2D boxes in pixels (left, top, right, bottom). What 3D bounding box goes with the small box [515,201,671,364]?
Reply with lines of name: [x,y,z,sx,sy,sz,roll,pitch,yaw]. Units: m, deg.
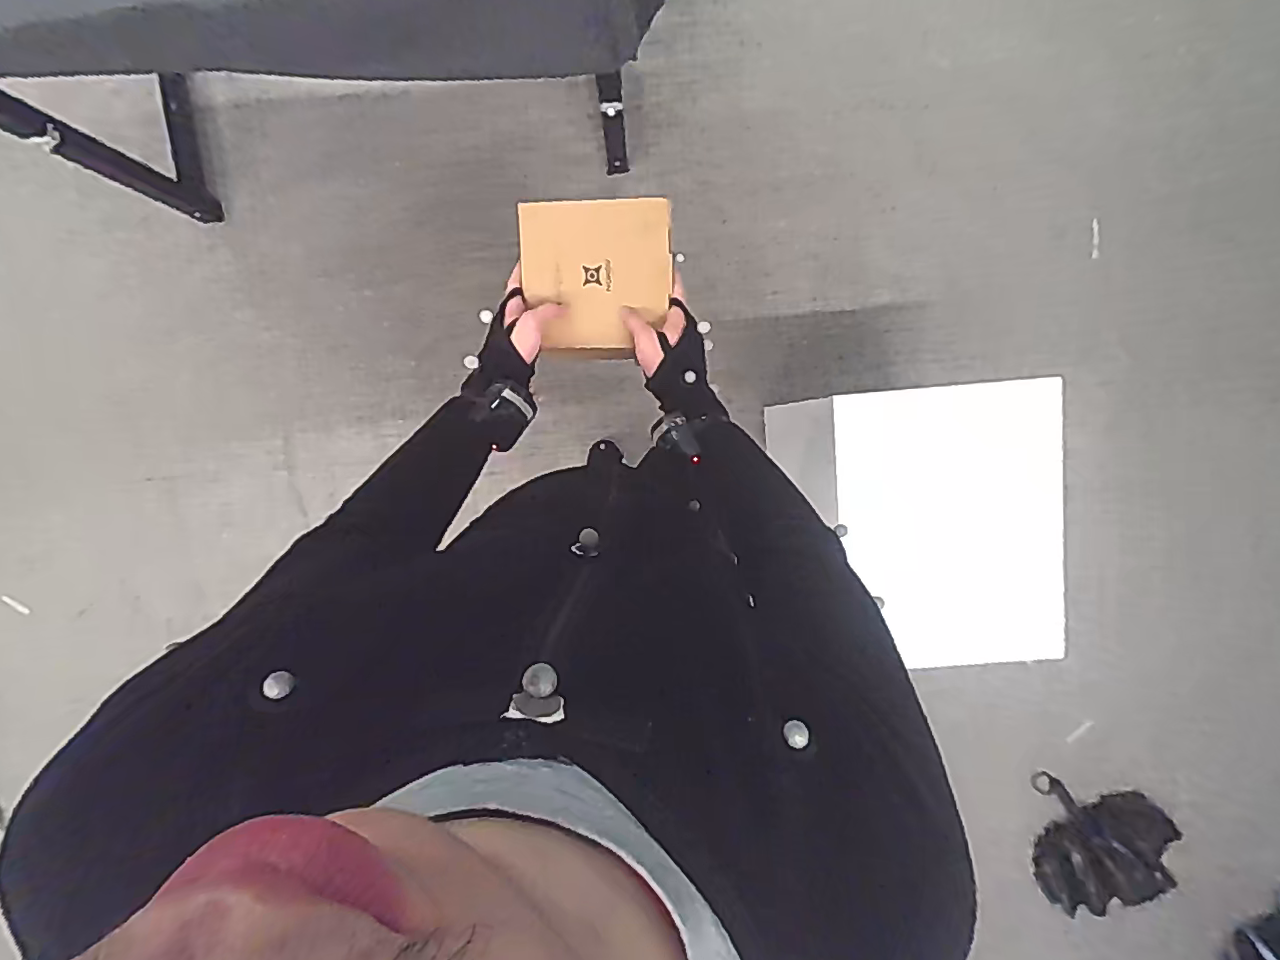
small box: [-0.048,-0.240,0.695,0.179,0.176,0.168,-1,97,5]
